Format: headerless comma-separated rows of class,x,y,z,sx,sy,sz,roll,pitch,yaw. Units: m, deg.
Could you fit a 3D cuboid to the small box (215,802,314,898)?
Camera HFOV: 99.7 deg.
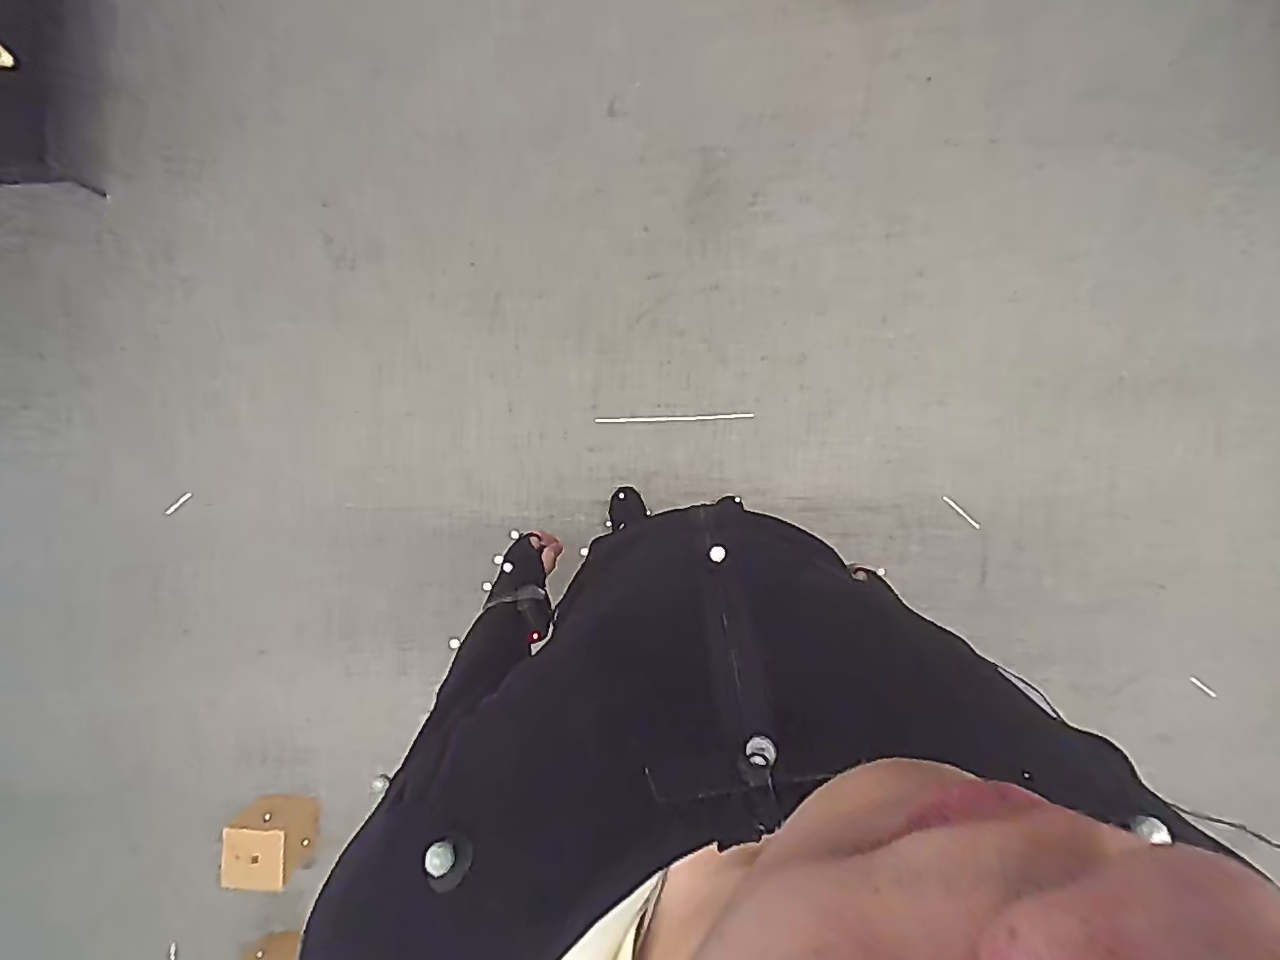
small box,-1.070,1.054,1.553,0.179,0.176,0.168,2,89,1

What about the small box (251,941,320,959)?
small box,-1.054,1.473,1.550,0.179,0.176,0.168,-3,90,1
